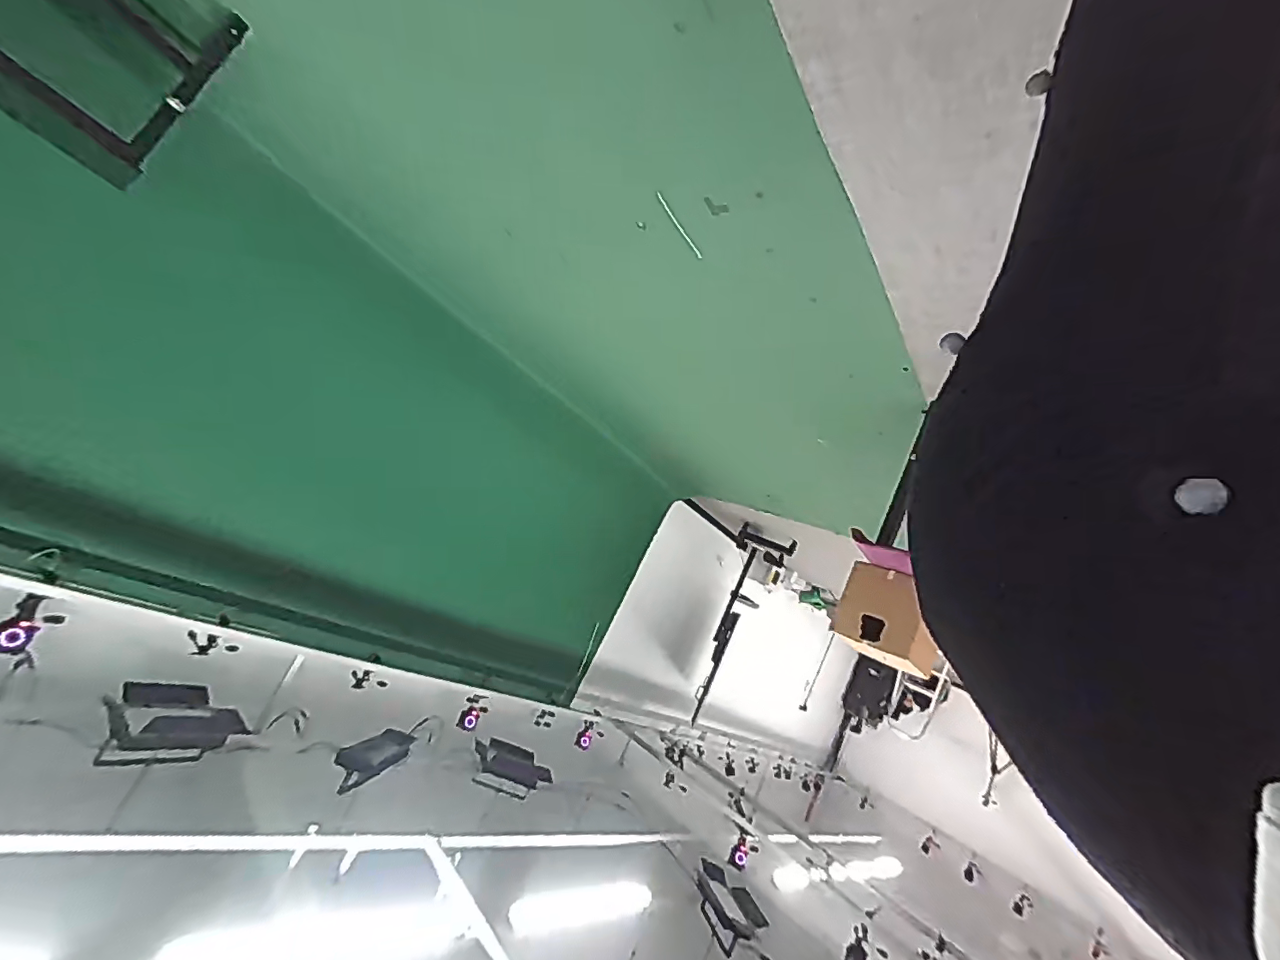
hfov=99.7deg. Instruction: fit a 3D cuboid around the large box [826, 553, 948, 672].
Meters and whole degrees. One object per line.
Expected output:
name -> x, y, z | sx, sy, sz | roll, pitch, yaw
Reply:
large box -> 1.027, 0.545, 2.228 | 0.320, 0.320, 0.408 | 14, 163, 43
